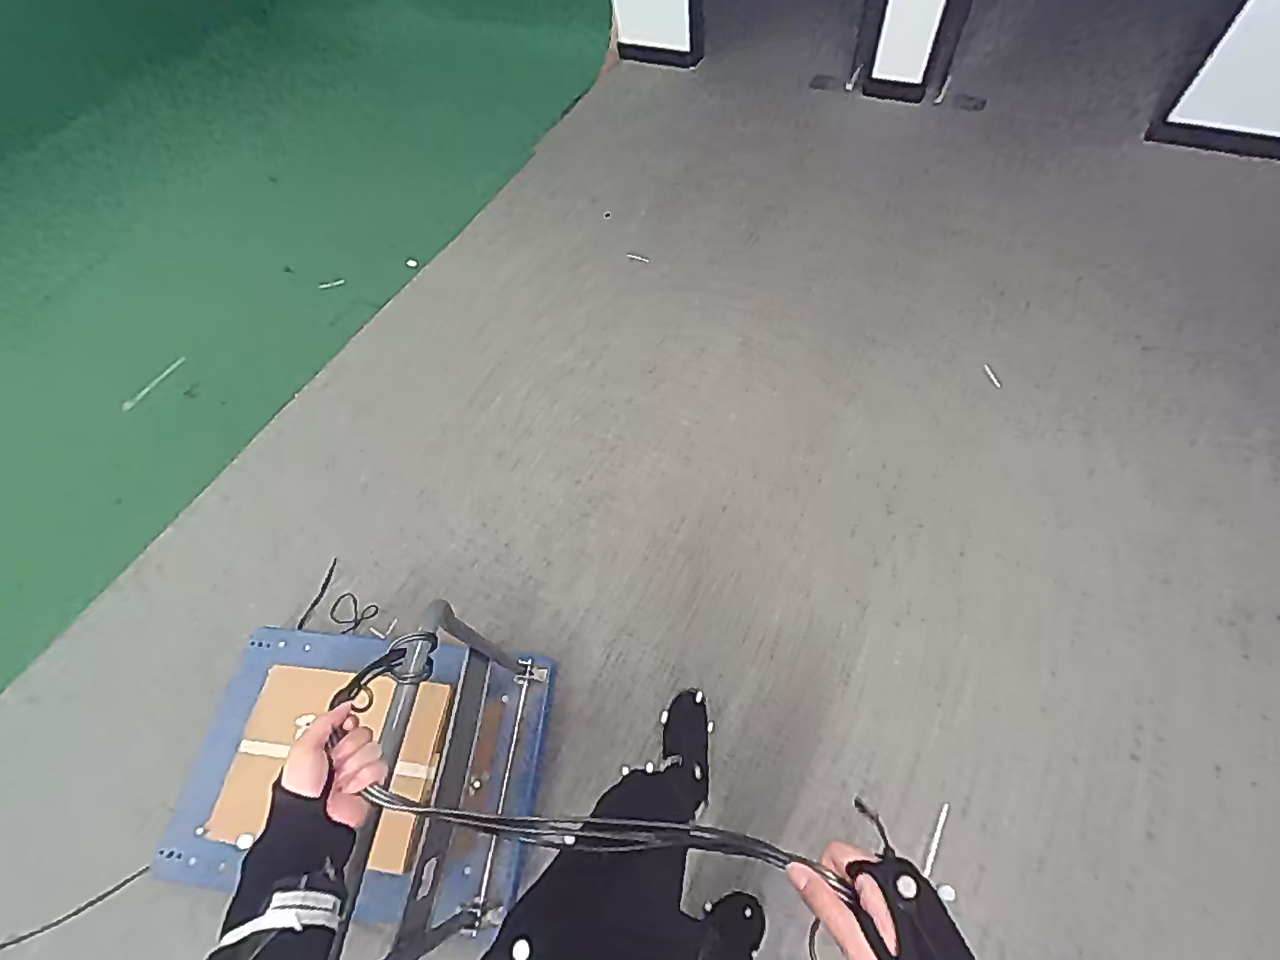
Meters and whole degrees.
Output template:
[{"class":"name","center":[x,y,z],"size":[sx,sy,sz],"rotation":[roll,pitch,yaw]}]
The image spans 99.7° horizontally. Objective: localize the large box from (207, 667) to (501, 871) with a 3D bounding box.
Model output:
[{"class":"large box","center":[-0.561,0.598,1.152],"size":[0.408,0.320,0.320],"rotation":[2,61,10]}]
